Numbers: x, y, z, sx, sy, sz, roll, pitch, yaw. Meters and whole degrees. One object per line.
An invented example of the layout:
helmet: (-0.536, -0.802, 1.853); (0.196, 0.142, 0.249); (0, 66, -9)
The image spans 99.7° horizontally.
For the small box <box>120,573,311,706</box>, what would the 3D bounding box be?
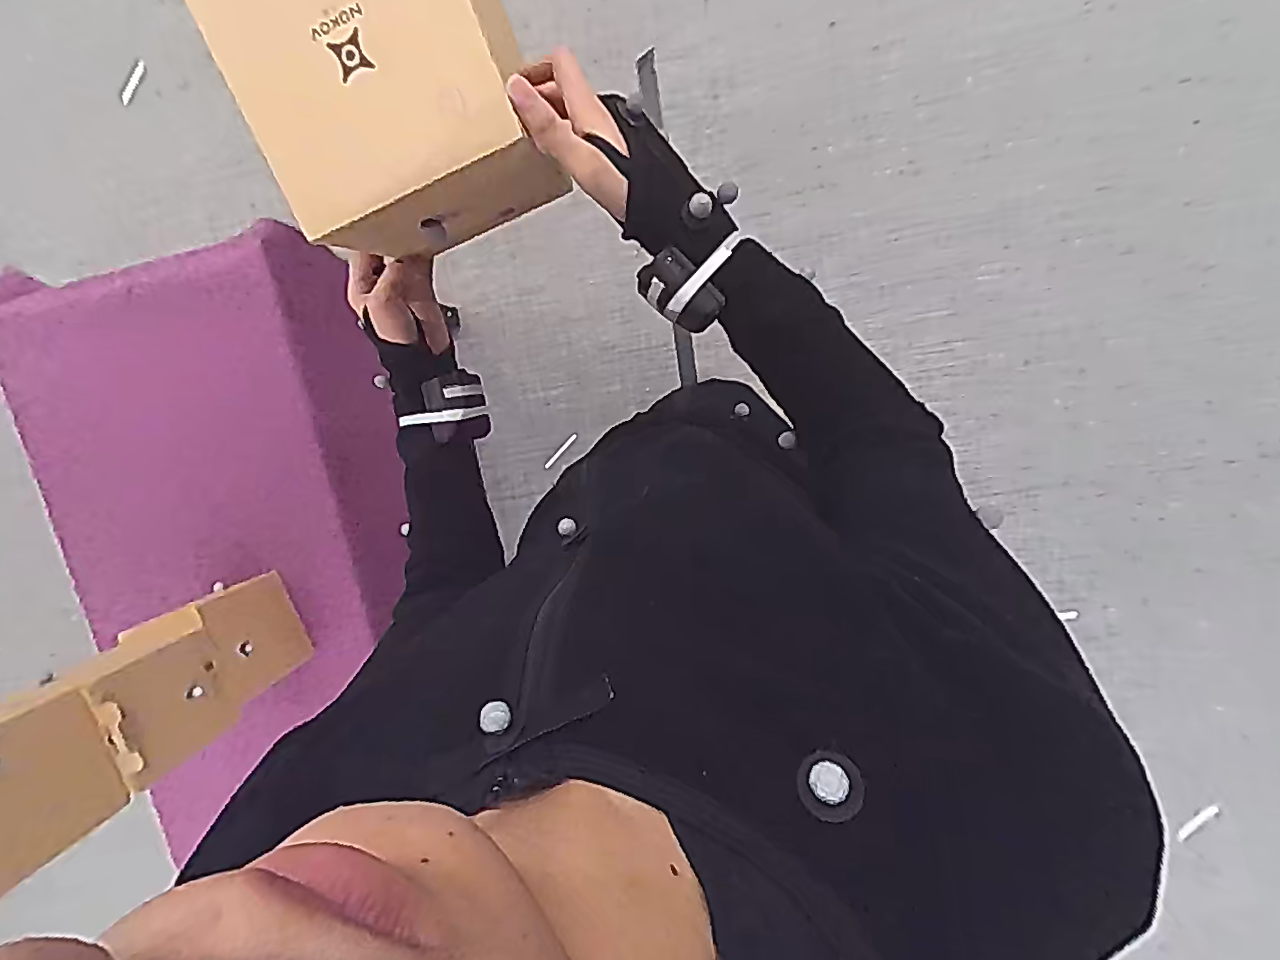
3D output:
small box: (-0.726, 0.289, 0.947); (0.168, 0.176, 0.179); (-19, 97, 10)

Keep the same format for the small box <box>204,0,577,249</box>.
small box: (-0.163, -0.290, 0.406); (0.168, 0.176, 0.179); (-19, 104, 11)

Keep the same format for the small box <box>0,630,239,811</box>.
small box: (-0.749, 0.341, 0.791); (0.179, 0.176, 0.168); (-14, 99, 10)
